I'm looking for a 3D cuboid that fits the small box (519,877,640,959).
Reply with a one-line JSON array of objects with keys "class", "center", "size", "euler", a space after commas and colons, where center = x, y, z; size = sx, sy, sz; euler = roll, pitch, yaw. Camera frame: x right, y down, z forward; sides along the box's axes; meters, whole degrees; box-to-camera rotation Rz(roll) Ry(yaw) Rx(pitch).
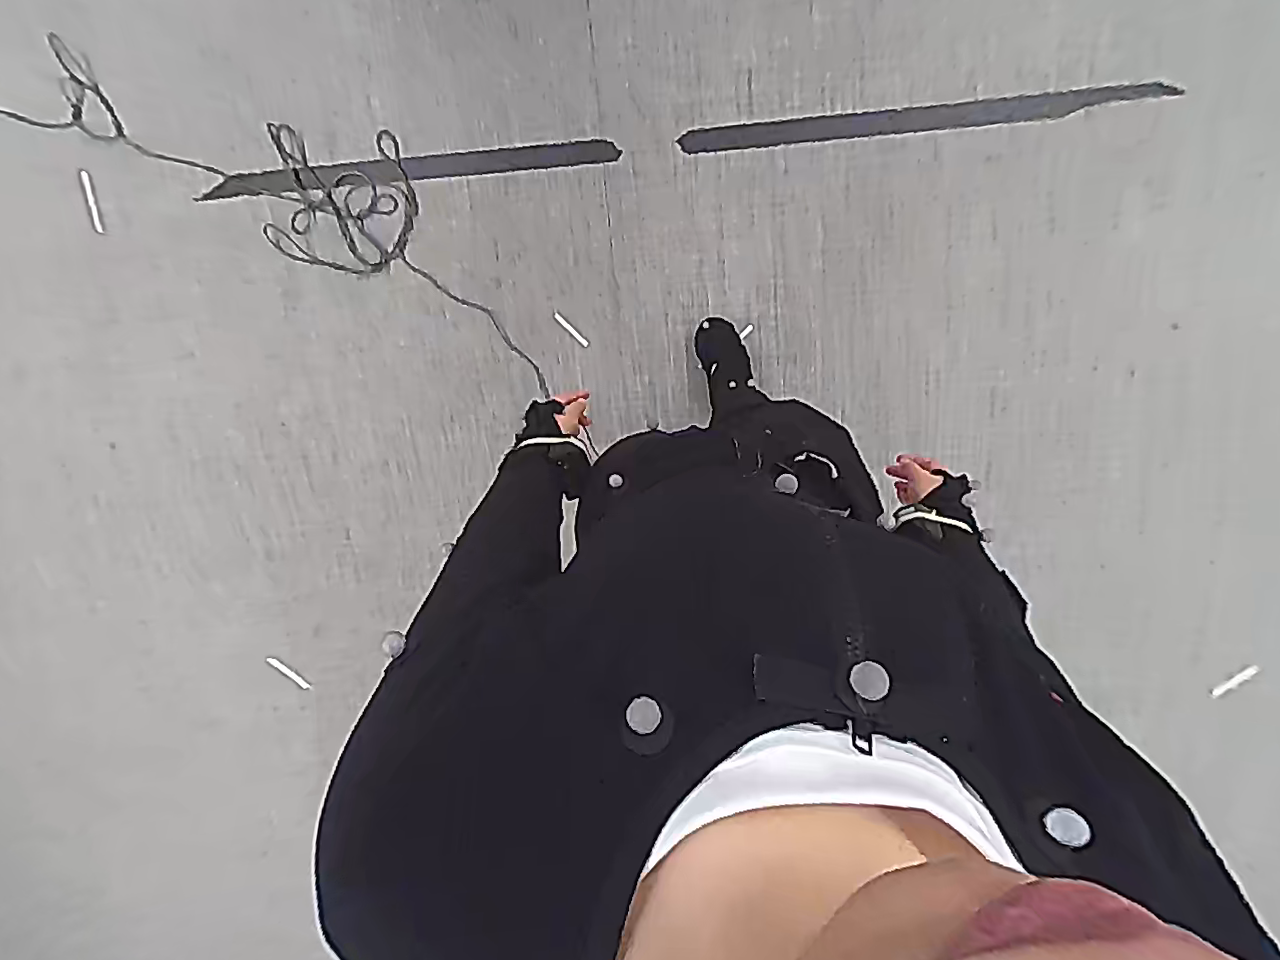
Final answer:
[{"class": "small box", "center": [-0.092, 0.773, 0.859], "size": [0.179, 0.176, 0.168], "euler": [-2, 102, 5]}]
